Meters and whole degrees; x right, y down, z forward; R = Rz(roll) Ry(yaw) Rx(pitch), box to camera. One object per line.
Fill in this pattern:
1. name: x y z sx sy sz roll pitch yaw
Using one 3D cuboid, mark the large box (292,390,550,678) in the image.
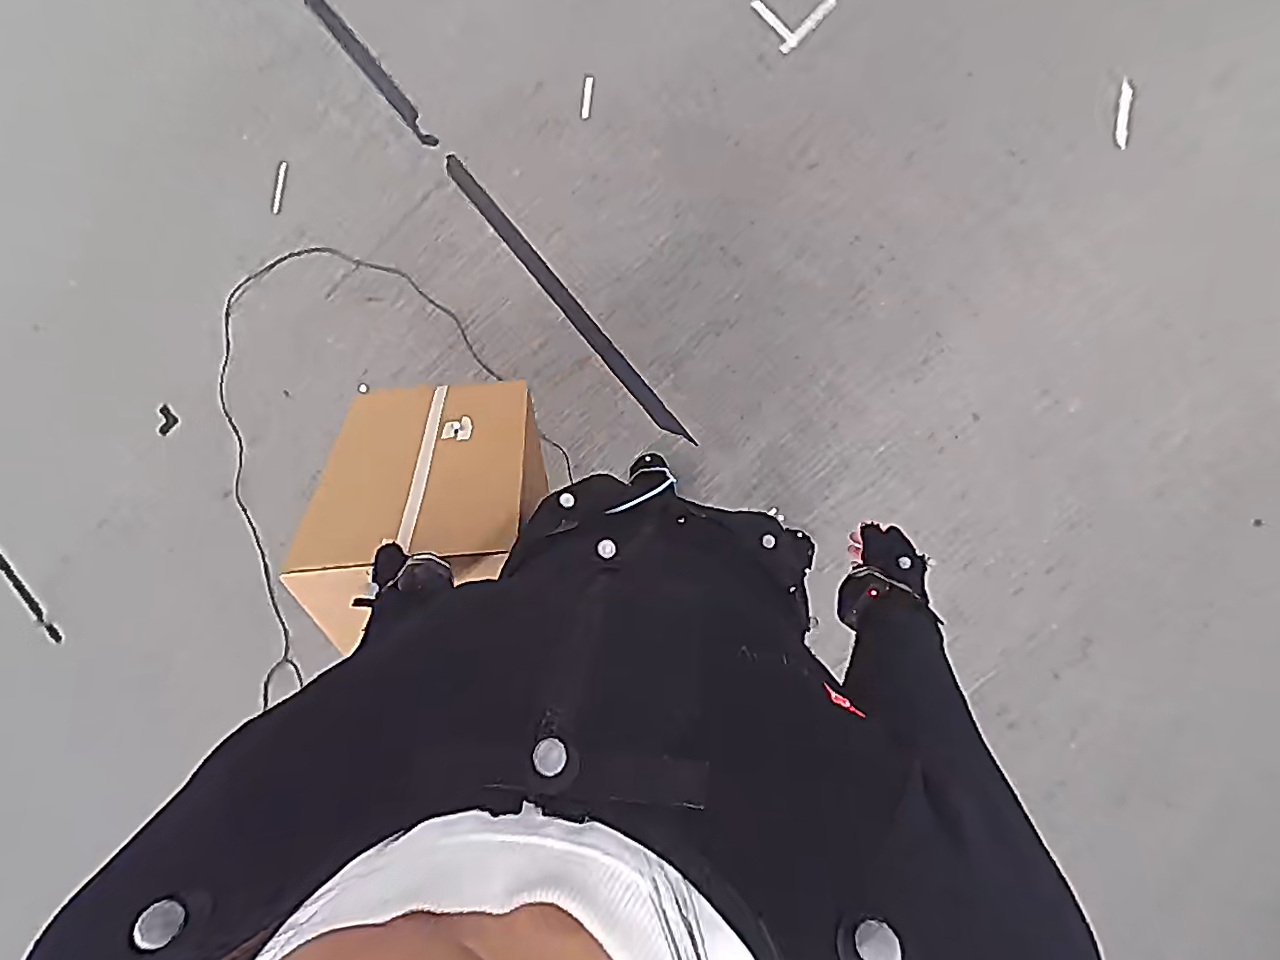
1. large box: -0.341 0.088 0.980 0.320 0.408 0.320 -5 134 -4
